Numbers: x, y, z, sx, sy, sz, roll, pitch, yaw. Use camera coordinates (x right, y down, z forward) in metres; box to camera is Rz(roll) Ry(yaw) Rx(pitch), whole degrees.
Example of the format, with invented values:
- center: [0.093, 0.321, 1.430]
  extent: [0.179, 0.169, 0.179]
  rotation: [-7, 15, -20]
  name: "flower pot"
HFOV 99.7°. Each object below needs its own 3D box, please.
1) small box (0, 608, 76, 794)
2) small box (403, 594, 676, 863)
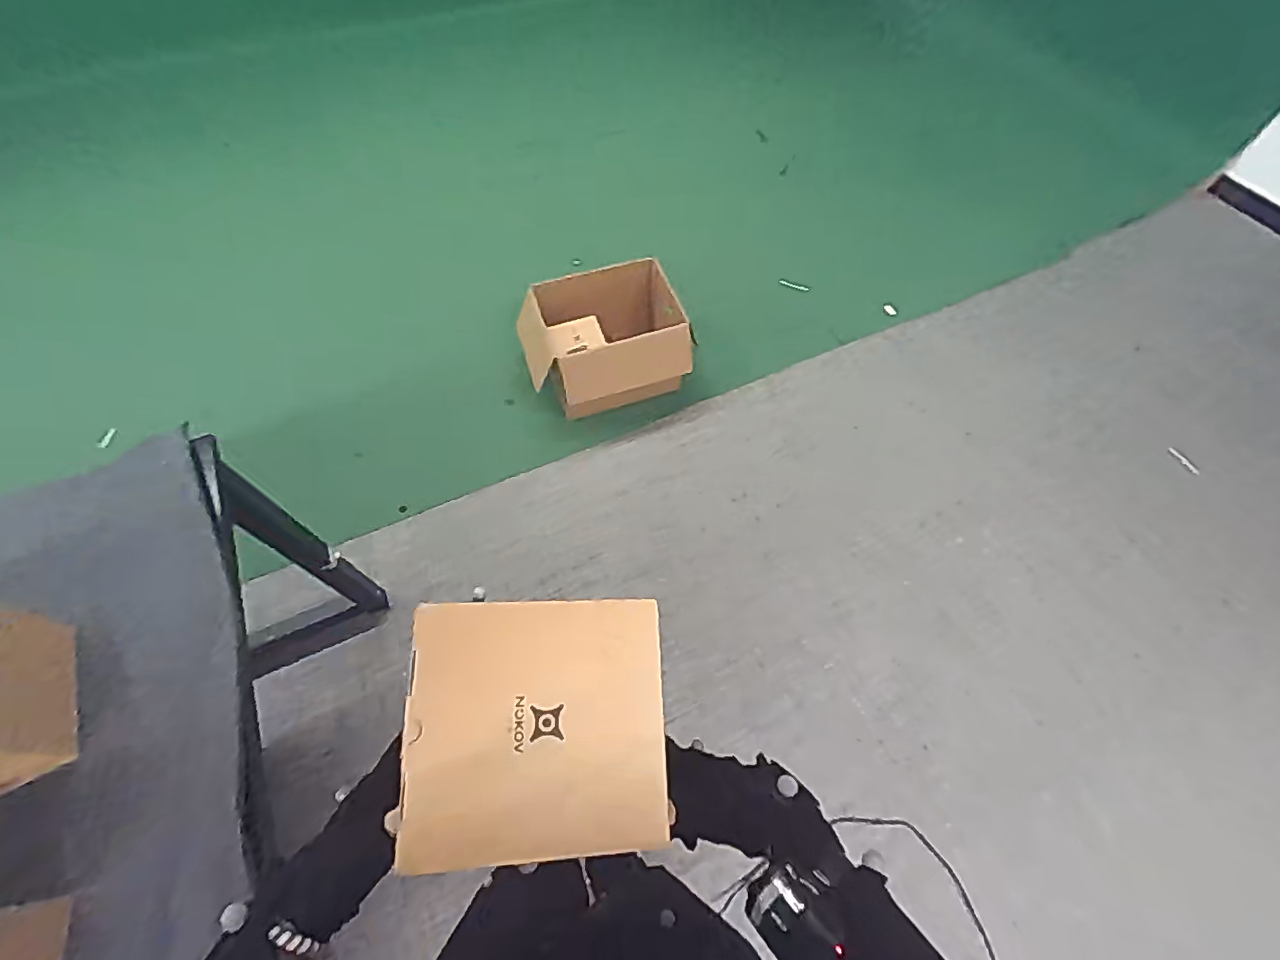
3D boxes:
- center: [-0.760, 0.246, 0.572]
  extent: [0.168, 0.176, 0.179]
  rotation: [-25, 64, -14]
  name: "small box"
- center: [-0.077, 0.184, 0.445]
  extent: [0.179, 0.176, 0.168]
  rotation: [1, 72, -10]
  name: "small box"
